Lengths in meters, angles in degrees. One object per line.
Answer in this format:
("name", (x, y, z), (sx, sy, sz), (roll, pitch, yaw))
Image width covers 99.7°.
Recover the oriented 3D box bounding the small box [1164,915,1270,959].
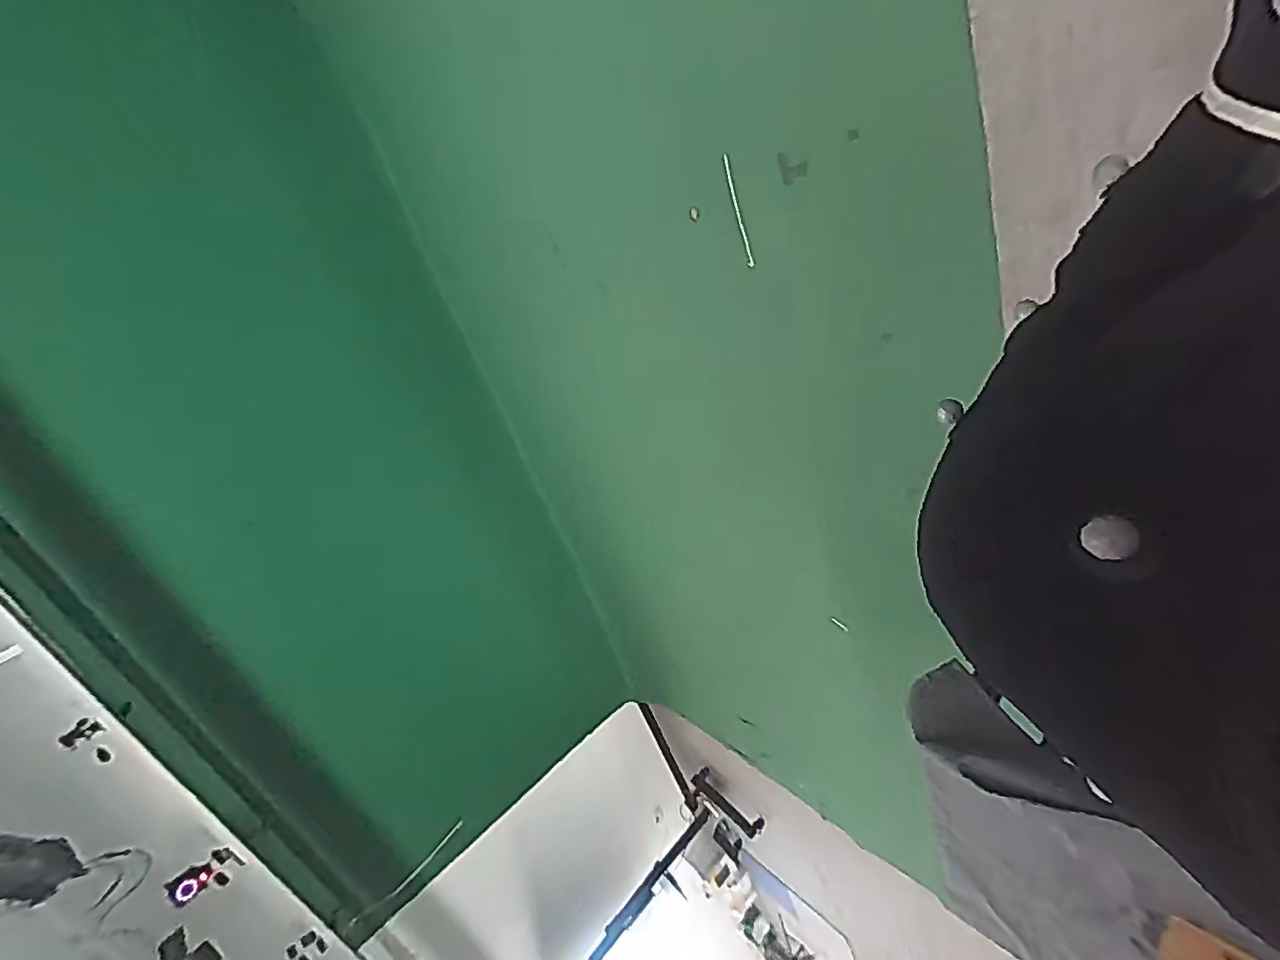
("small box", (0.818, 0.756, 0.732), (0.168, 0.176, 0.179), (10, 128, 52))
